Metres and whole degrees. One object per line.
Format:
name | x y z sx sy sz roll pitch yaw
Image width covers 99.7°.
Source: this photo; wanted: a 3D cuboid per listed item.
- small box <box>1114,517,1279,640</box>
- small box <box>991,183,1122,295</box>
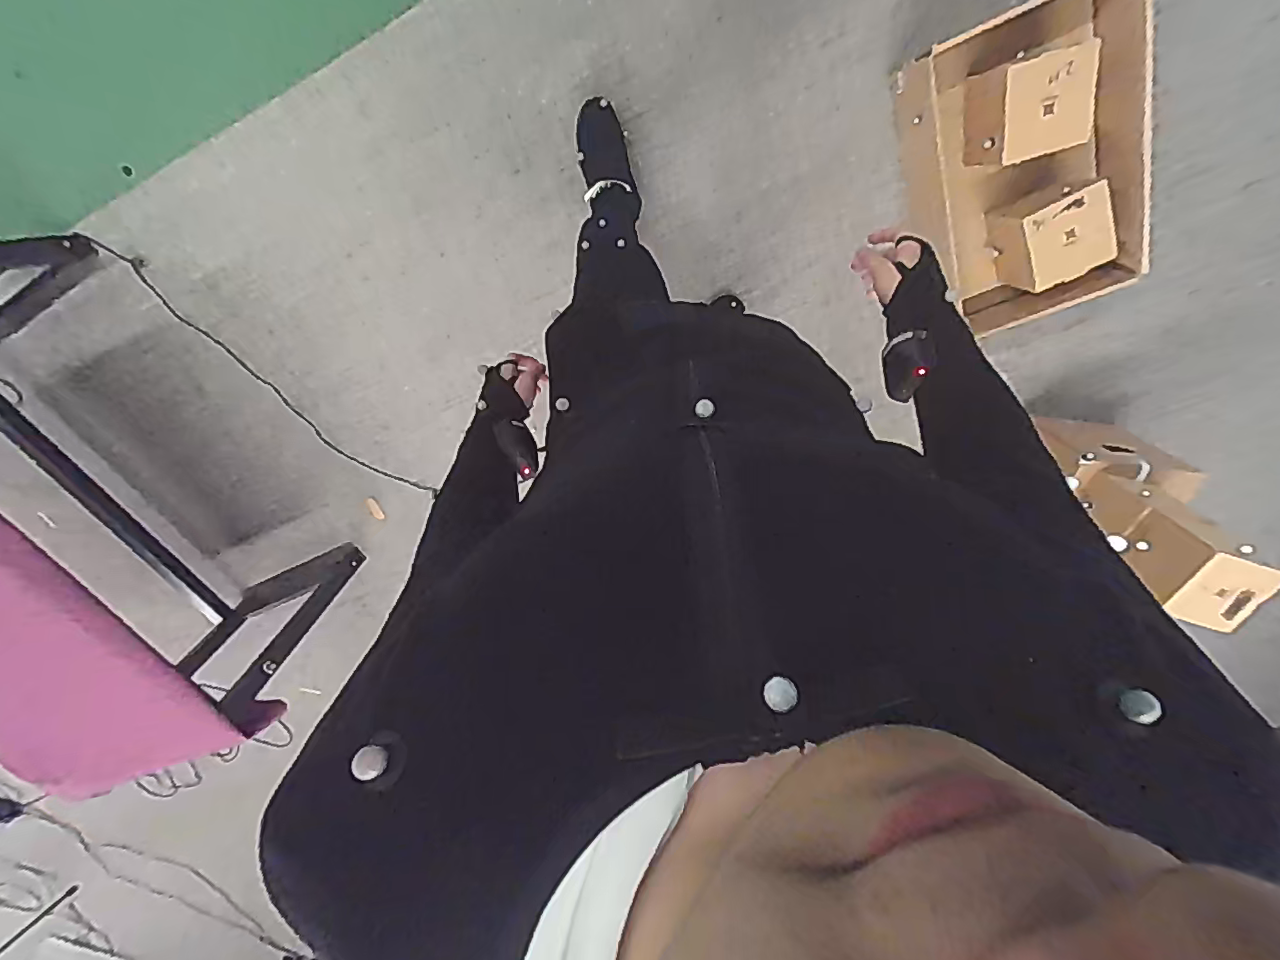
small box | 1.178 0.200 1.137 0.179 0.176 0.168 17 118 -4
small box | 0.936 -0.550 1.225 0.168 0.176 0.179 -24 114 16
